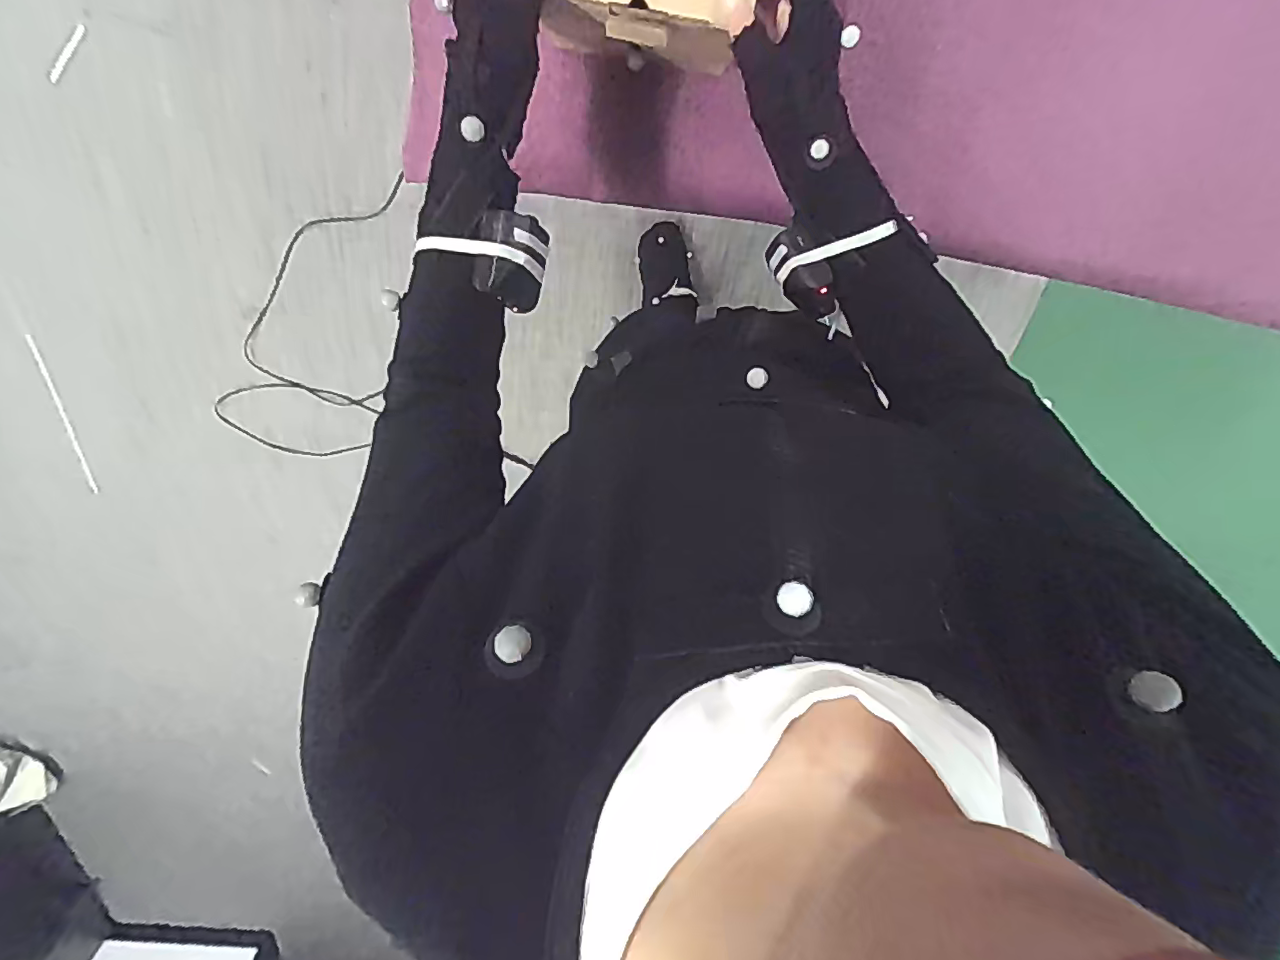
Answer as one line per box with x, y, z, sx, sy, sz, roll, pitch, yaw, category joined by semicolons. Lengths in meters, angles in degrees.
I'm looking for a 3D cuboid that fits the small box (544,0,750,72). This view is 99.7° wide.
0.008;-0.453;0.421;0.168;0.176;0.179;7;118;-3;small box
